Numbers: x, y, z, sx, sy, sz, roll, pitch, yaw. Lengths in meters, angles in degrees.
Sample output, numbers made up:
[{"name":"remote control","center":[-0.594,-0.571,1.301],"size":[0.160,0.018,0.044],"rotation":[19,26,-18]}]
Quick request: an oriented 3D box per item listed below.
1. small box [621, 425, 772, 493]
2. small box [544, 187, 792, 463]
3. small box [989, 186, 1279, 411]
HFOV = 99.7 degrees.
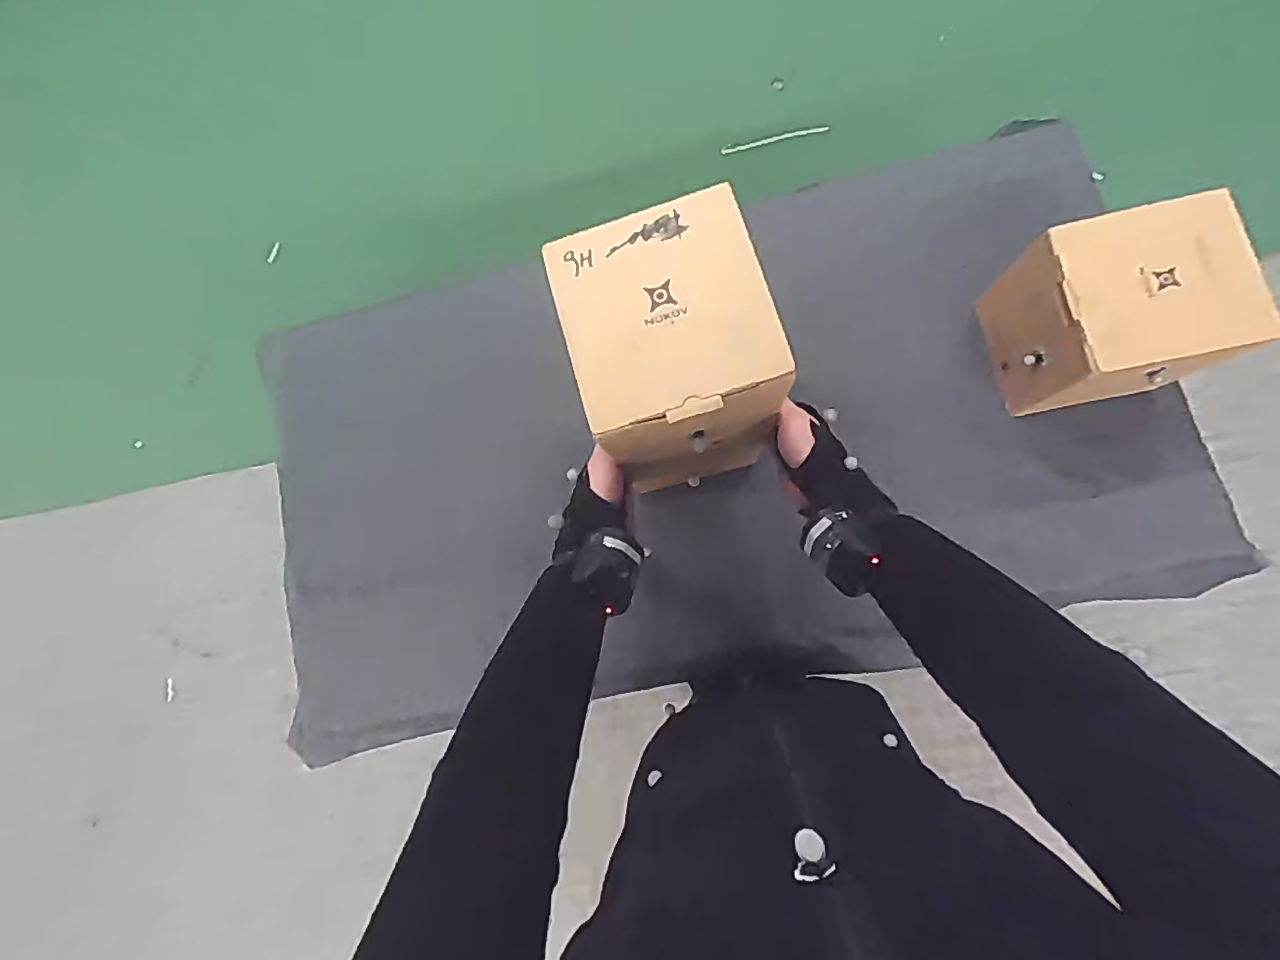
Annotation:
[{"name":"small box","center":[0.053,-0.095,0.668],"size":[0.168,0.176,0.179],"rotation":[-15,79,6]},{"name":"small box","center":[0.030,-0.123,0.509],"size":[0.168,0.176,0.179],"rotation":[-17,79,5]},{"name":"small box","center":[0.535,-0.189,0.617],"size":[0.179,0.176,0.168],"rotation":[-12,80,5]}]
